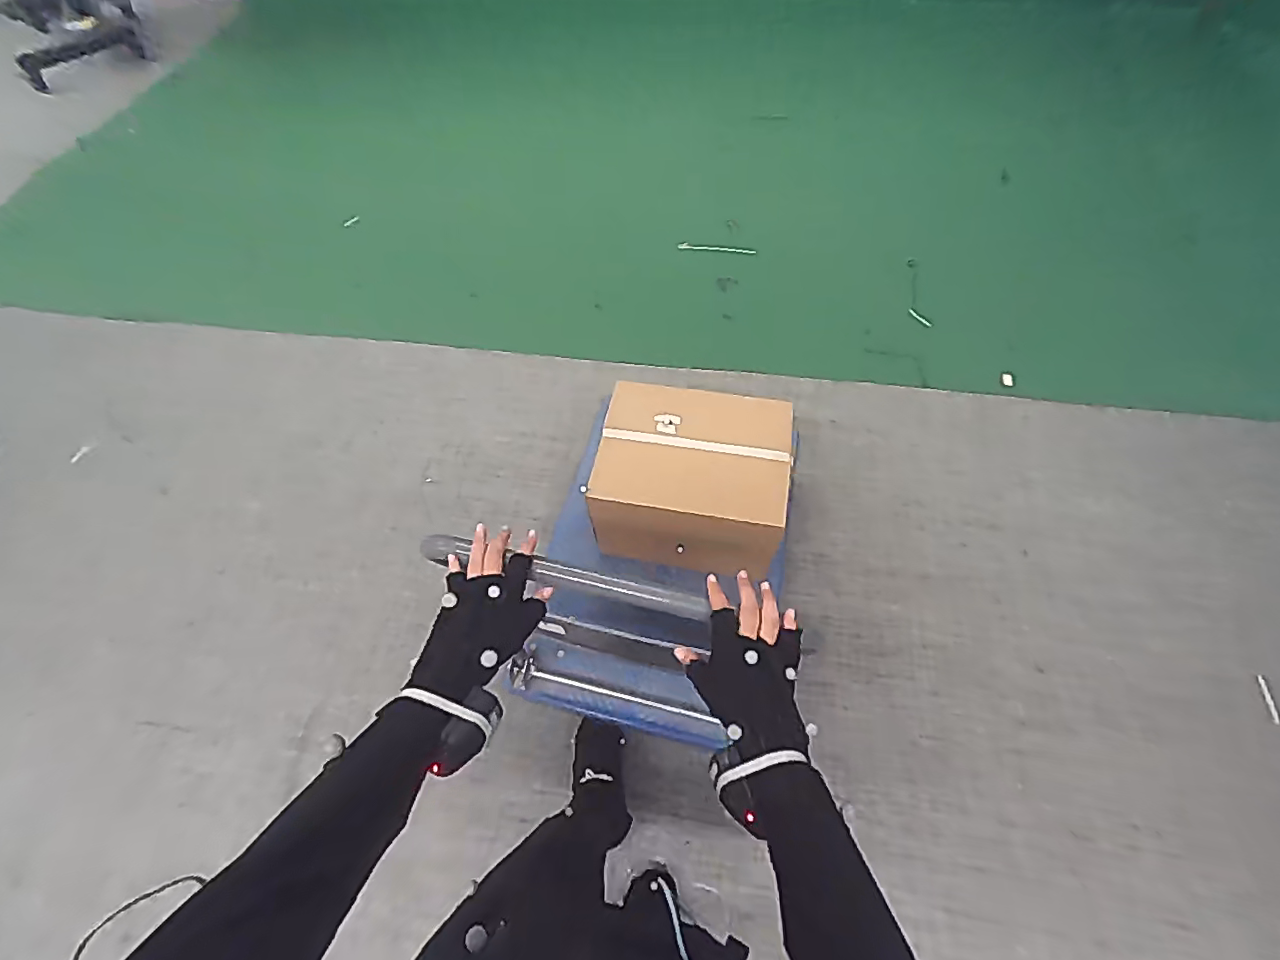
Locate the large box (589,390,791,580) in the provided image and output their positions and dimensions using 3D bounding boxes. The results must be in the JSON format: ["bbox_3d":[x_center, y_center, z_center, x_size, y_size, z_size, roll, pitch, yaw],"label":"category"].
[{"bbox_3d":[0.126,0.020,1.284,0.408,0.320,0.320,8,60,8],"label":"large box"}]
